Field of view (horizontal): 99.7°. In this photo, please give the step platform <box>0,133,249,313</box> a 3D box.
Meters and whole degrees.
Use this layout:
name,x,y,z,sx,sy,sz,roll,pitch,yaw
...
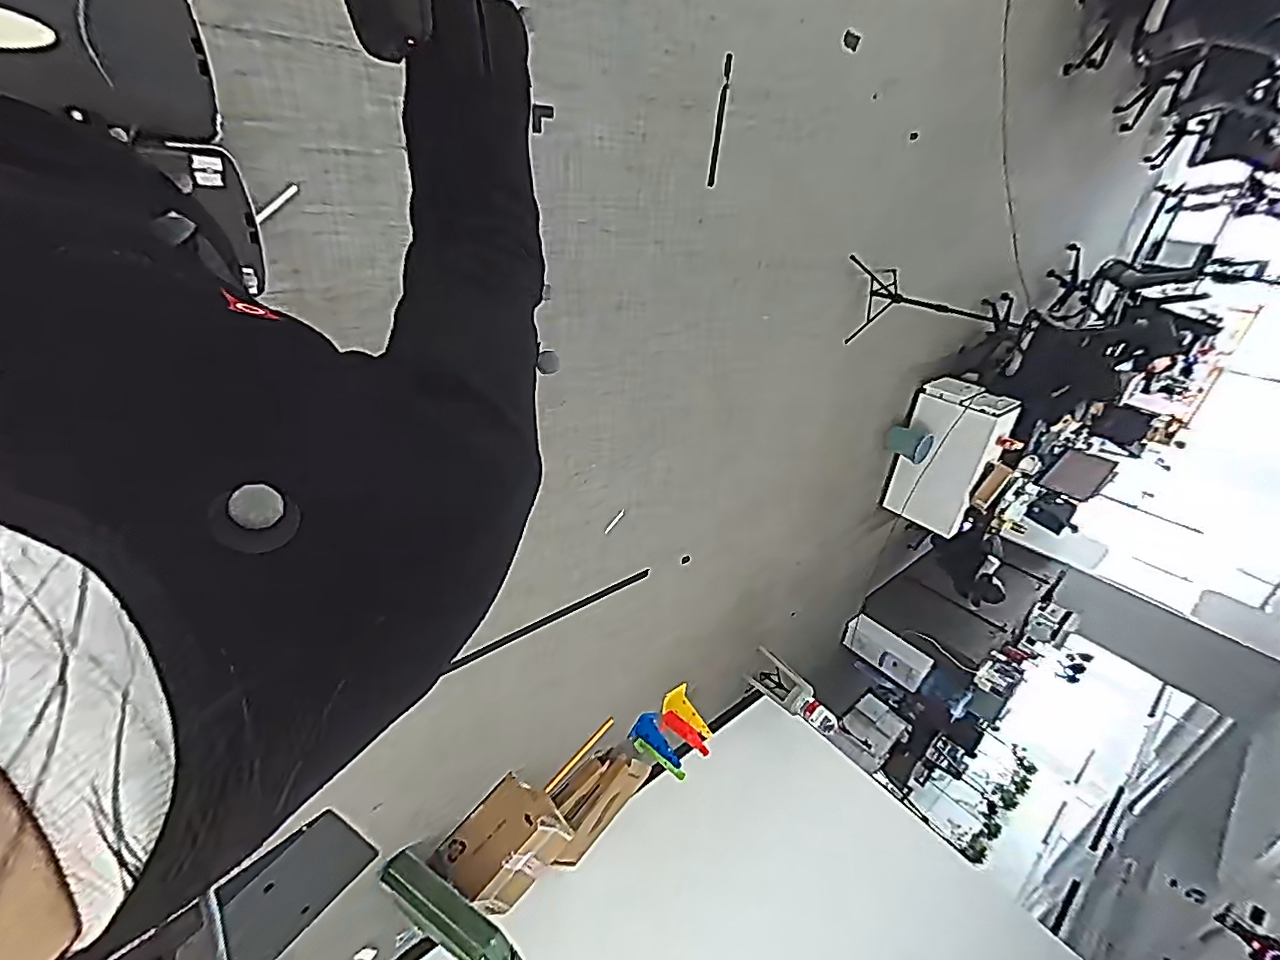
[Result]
name,x,y,z,sx,sy,sz,roll,pitch,yaw
step platform,-1.128,-0.462,0.971,0.684,0.204,0.286,-18,127,-33
